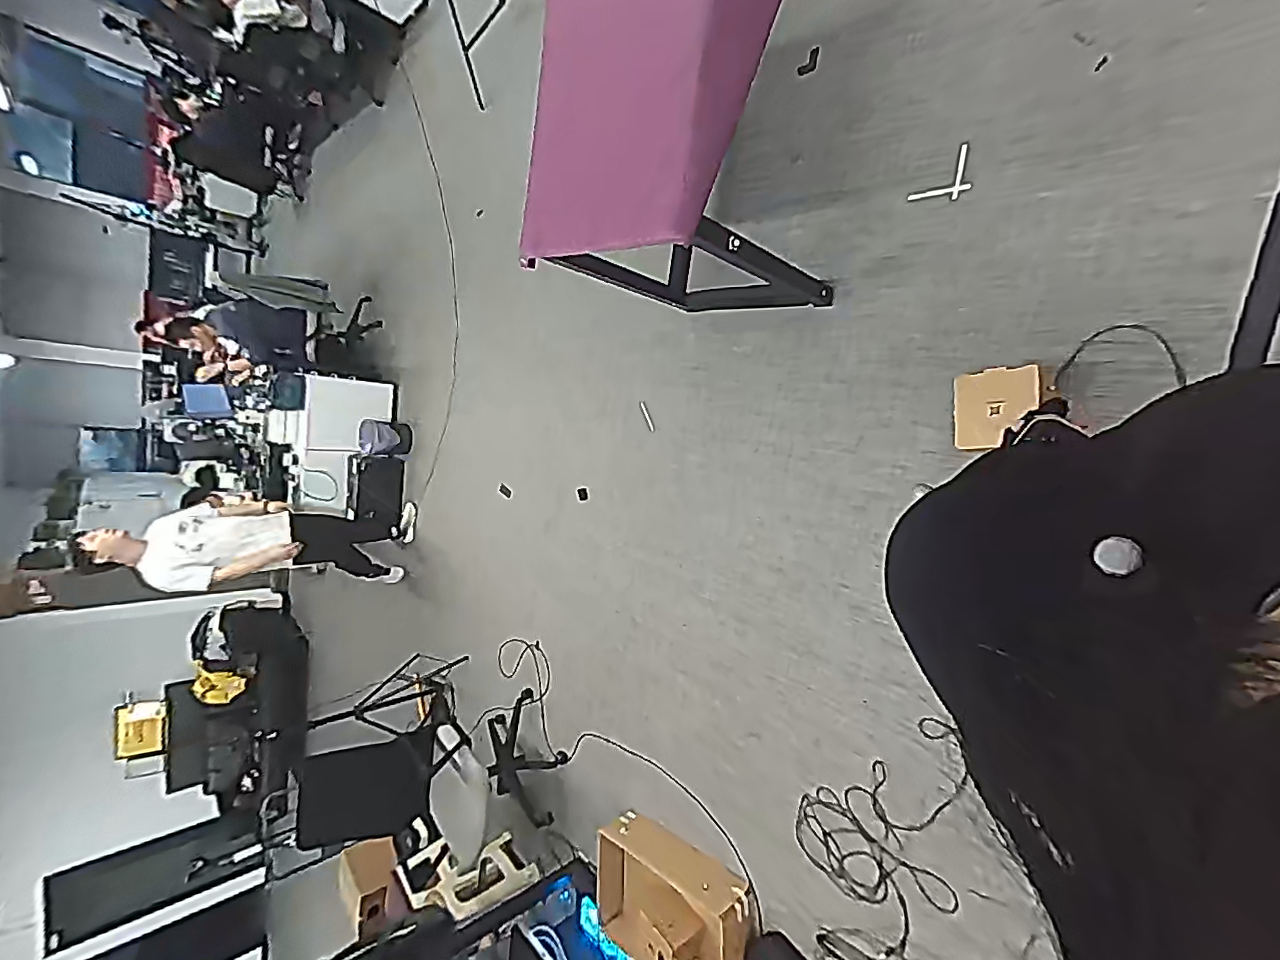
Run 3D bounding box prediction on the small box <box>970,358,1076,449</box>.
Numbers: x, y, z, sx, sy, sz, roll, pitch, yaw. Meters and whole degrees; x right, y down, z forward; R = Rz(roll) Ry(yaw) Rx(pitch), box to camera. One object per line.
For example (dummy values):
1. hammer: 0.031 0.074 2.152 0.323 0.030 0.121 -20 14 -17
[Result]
1. small box: 0.874 -0.166 1.233 0.168 0.176 0.179 -3 88 50
